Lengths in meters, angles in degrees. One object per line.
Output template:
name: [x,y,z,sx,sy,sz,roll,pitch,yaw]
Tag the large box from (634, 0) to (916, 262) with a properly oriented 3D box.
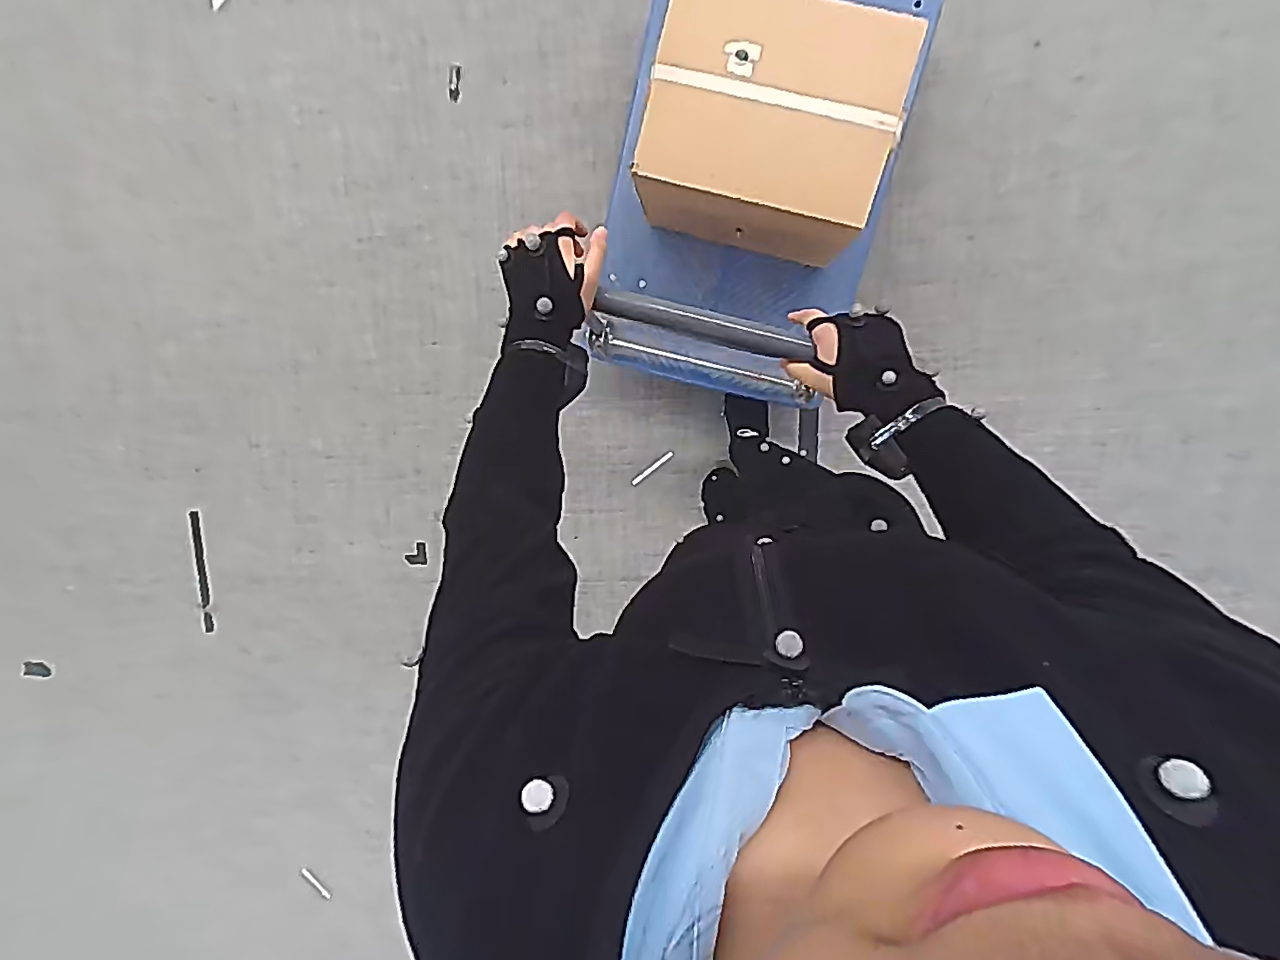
large box: [0.235,-0.647,1.044,0.408,0.320,0.320,16,100,5]
